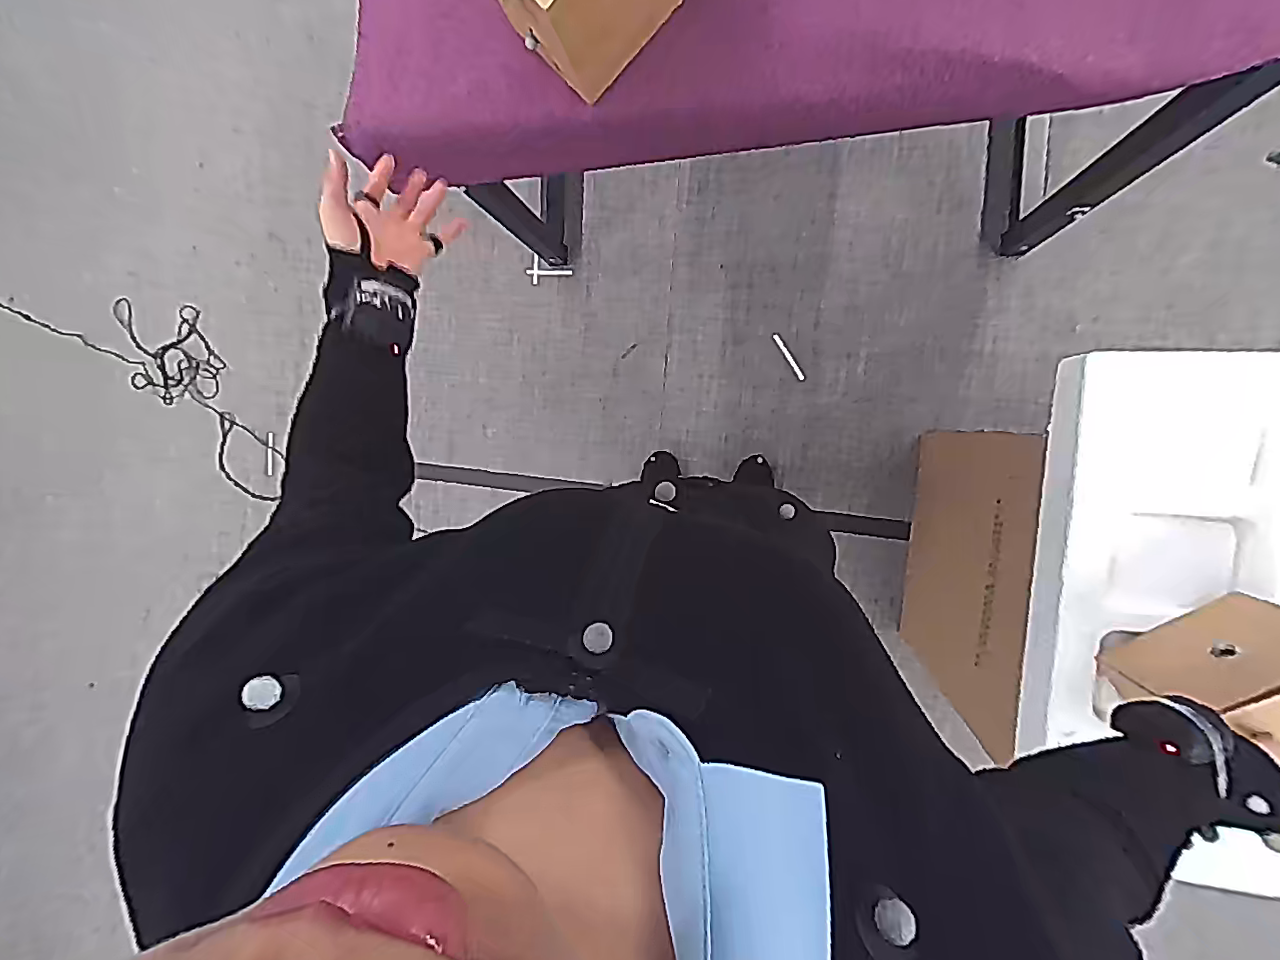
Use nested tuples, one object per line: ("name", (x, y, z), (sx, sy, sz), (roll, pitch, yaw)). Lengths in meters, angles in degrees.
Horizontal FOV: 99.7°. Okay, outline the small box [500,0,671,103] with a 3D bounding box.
("small box", (-0.076, -0.618, 0.647), (0.179, 0.176, 0.168), (-43, 84, 11))
